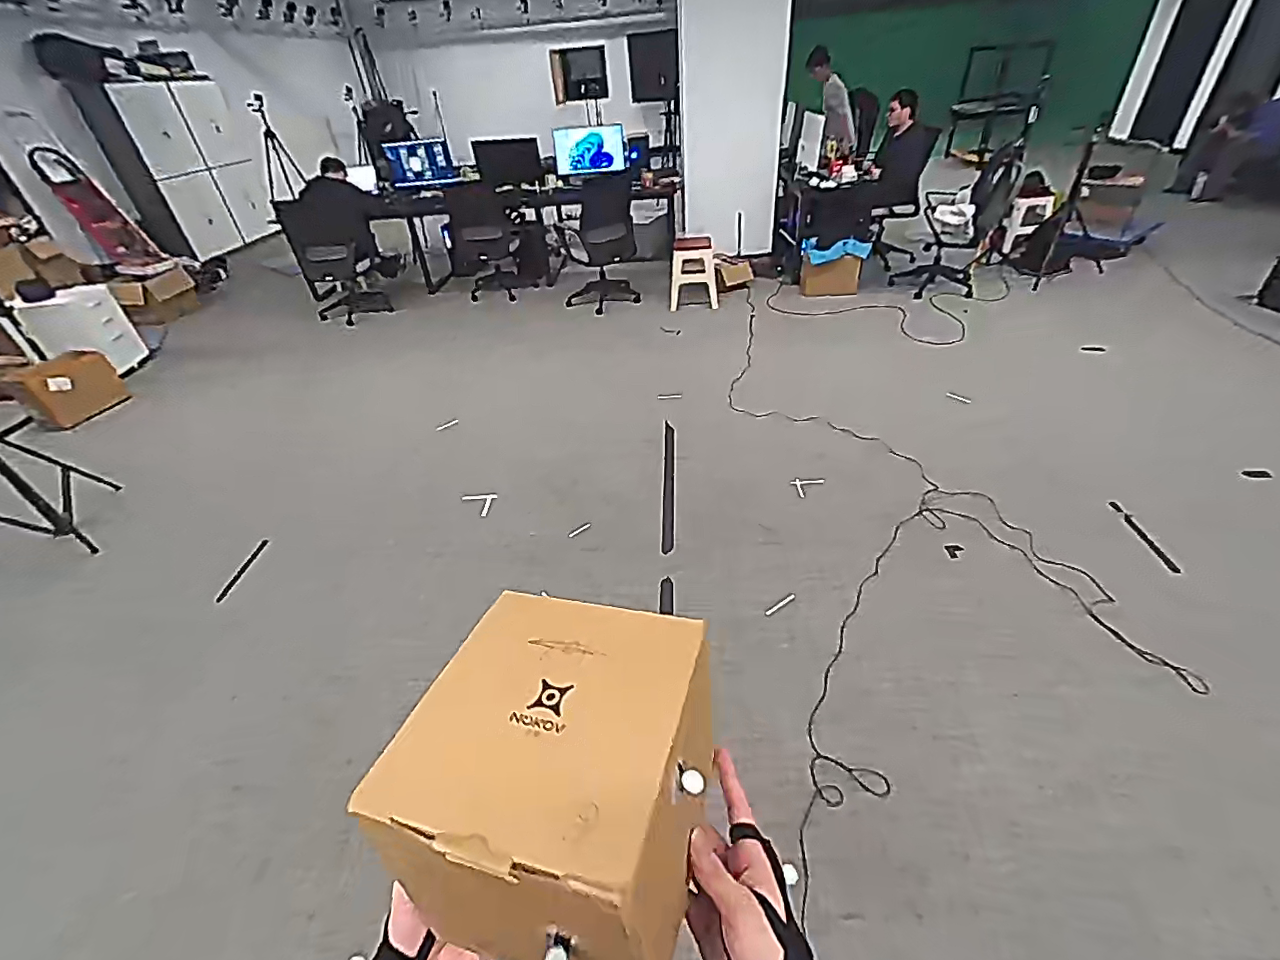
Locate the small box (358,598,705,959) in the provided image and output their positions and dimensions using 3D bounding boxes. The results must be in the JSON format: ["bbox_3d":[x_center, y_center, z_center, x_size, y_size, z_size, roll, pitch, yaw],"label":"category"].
[{"bbox_3d":[-0.051,0.214,0.388,0.168,0.176,0.179,4,31,19],"label":"small box"}]
